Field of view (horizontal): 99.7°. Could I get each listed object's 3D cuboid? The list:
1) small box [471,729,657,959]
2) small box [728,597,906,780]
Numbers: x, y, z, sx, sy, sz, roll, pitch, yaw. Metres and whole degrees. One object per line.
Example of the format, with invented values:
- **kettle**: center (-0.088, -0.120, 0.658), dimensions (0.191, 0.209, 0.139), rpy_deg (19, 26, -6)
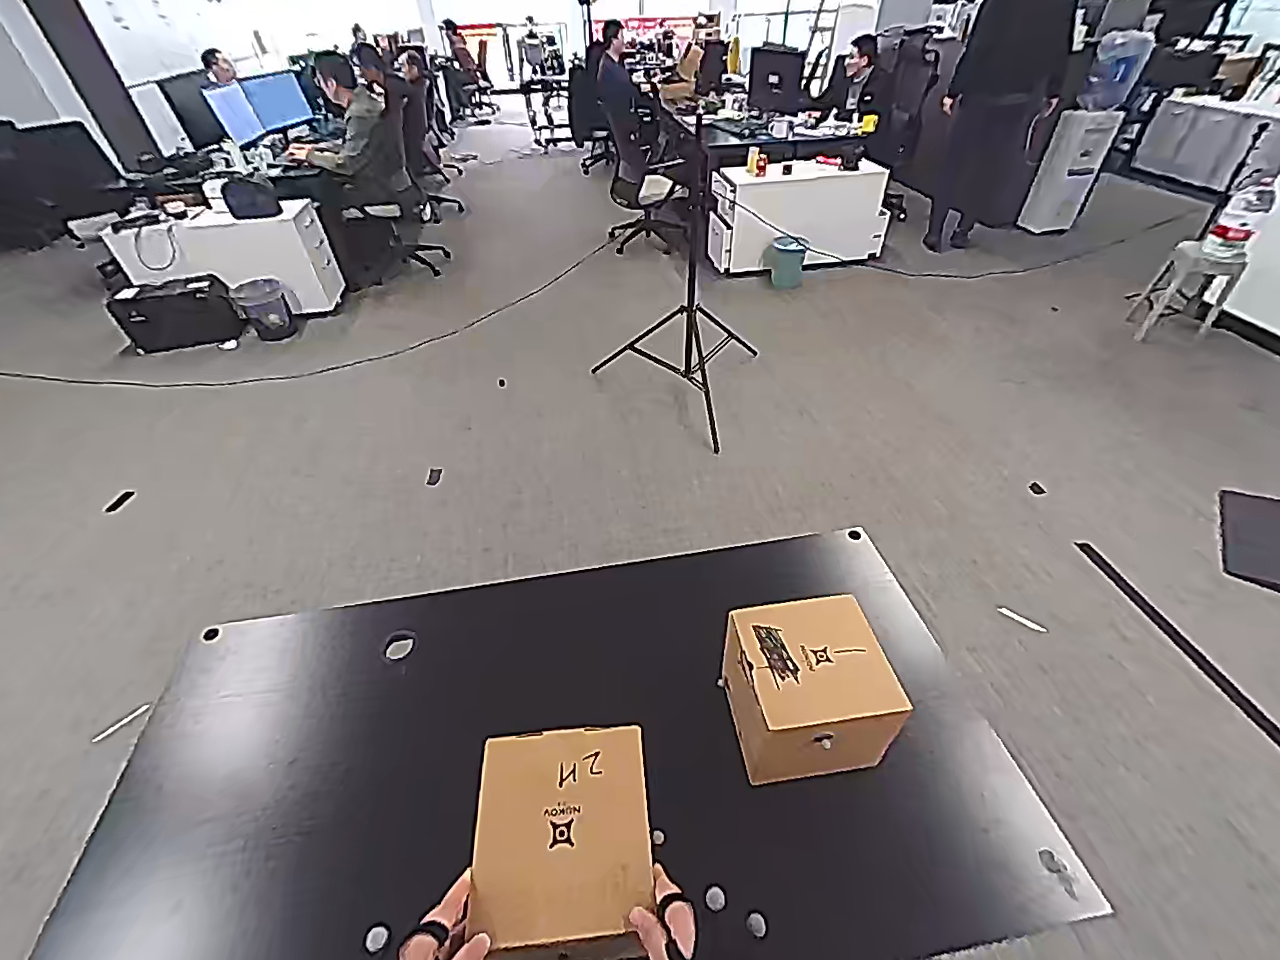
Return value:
- **small box**: center (-0.070, 0.394, 0.580), dimensions (0.168, 0.176, 0.179), rpy_deg (-3, 43, -4)
- **small box**: center (0.222, 0.286, 0.737), dimensions (0.179, 0.176, 0.168), rpy_deg (-6, 42, -5)
